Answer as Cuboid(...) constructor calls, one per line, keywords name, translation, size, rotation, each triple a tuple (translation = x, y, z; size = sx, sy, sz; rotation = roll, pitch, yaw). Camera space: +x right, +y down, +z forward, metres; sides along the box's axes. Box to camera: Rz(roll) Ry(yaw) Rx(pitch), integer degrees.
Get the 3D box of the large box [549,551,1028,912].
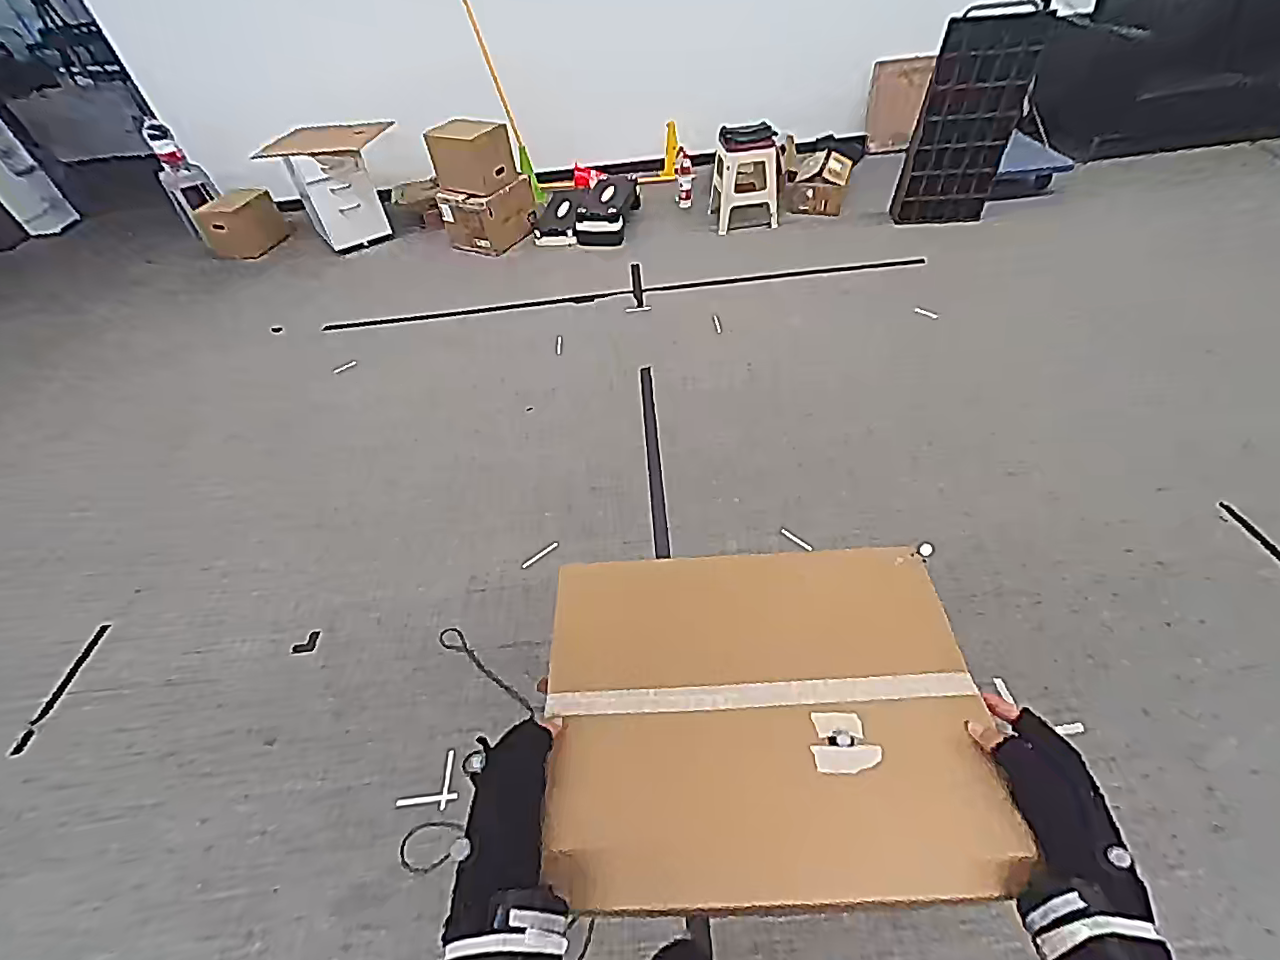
Cuboid(name="large box", translation=(0.122, 0.308, 0.649), size=(0.408, 0.320, 0.320), rotation=(-3, 51, 1))
